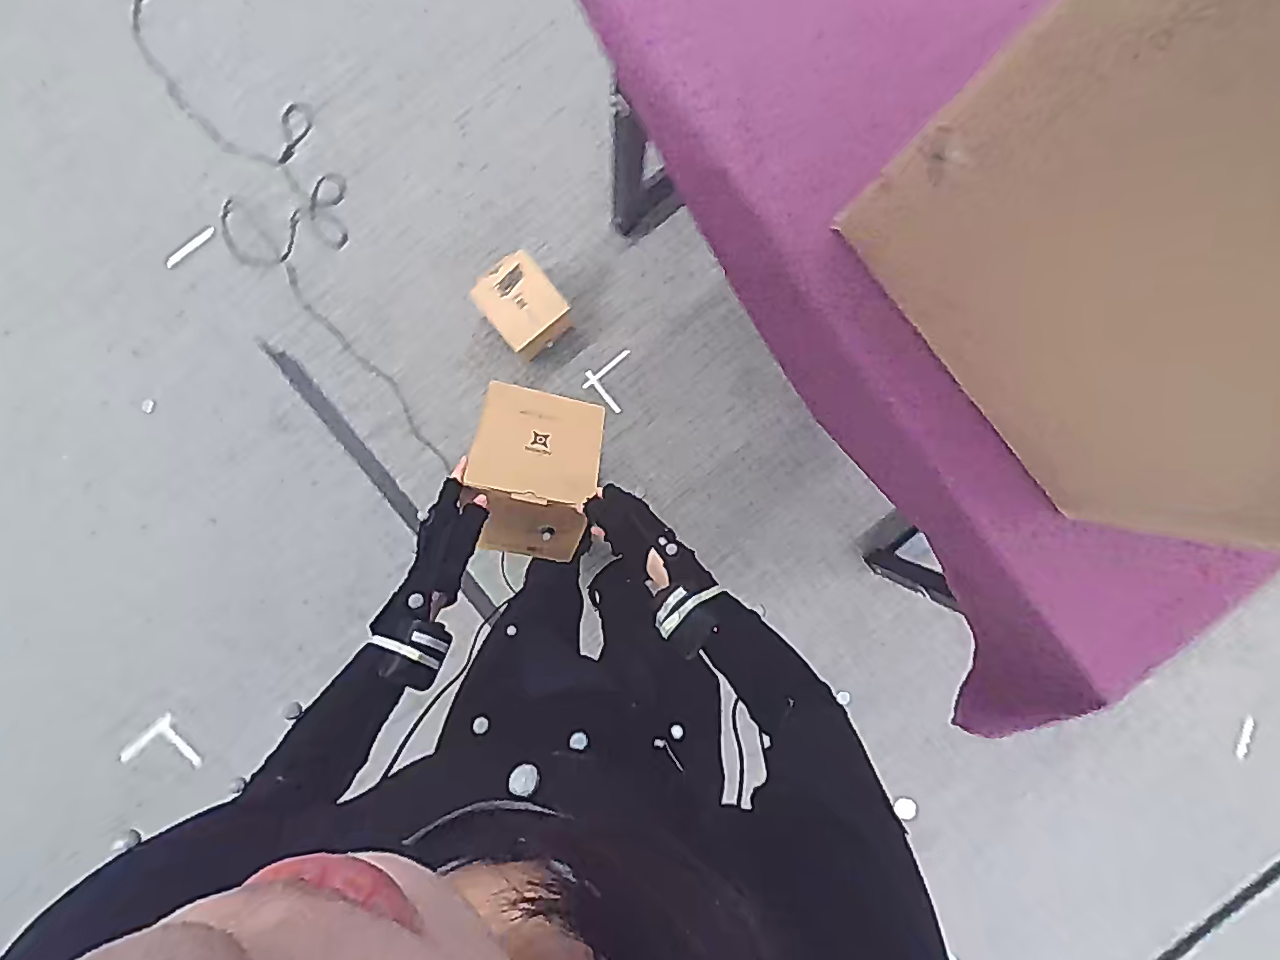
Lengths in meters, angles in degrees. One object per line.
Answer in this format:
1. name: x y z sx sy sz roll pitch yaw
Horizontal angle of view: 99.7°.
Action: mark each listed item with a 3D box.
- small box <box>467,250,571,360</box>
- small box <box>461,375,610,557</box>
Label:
1. small box: -0.287 -0.416 1.319 0.168 0.176 0.179 -40 96 0
2. small box: -0.148 -0.010 0.756 0.168 0.176 0.179 13 54 -14
